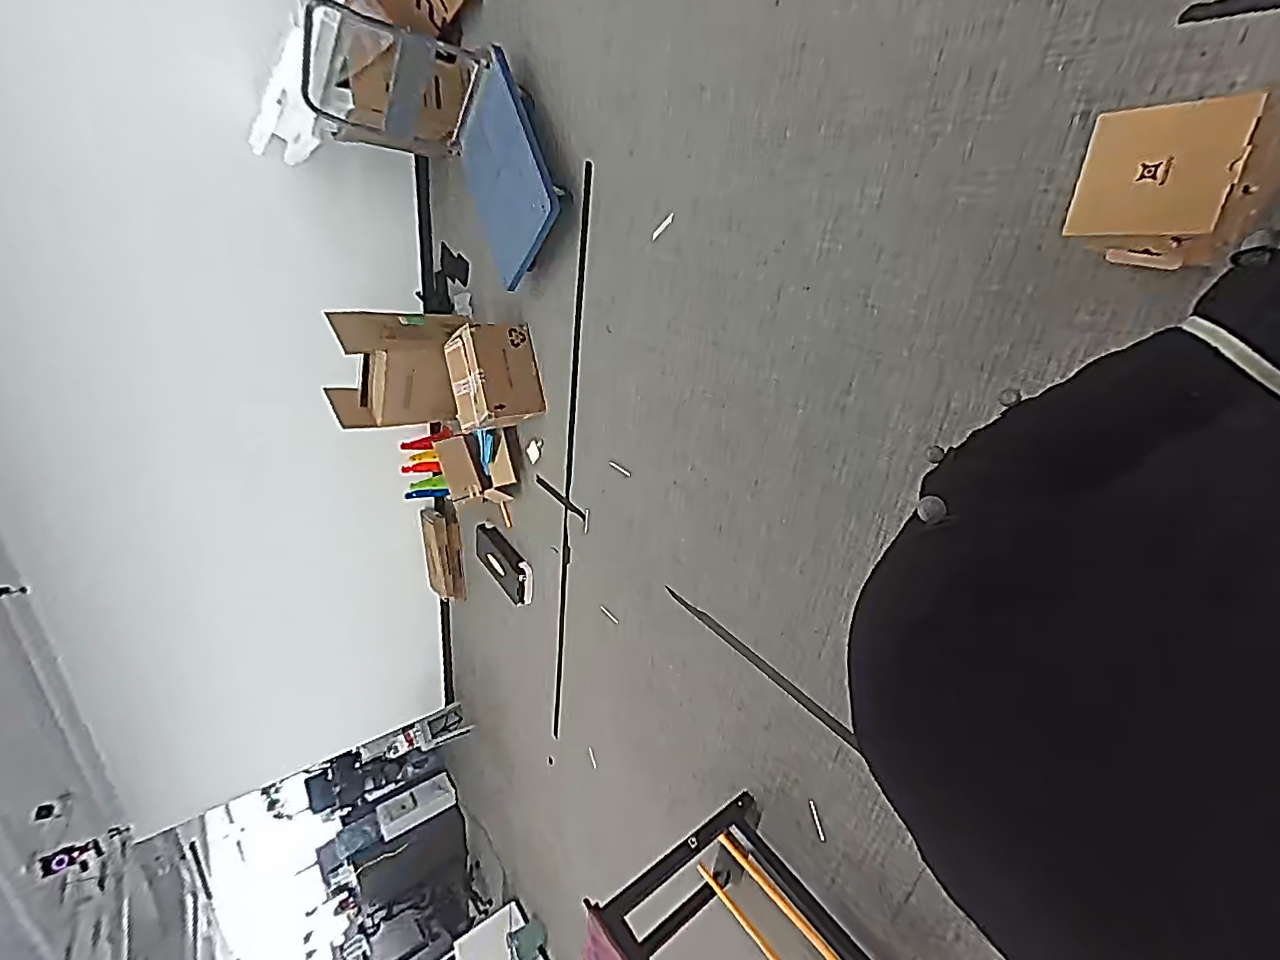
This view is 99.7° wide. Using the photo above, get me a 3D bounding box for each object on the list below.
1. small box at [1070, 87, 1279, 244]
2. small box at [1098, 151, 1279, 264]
[{"bbox_3d":[0.785,-0.442,0.793,0.179,0.176,0.168,26,120,46],"label":"small box"},{"bbox_3d":[0.914,-0.462,0.890,0.168,0.176,0.179,35,126,42],"label":"small box"}]
